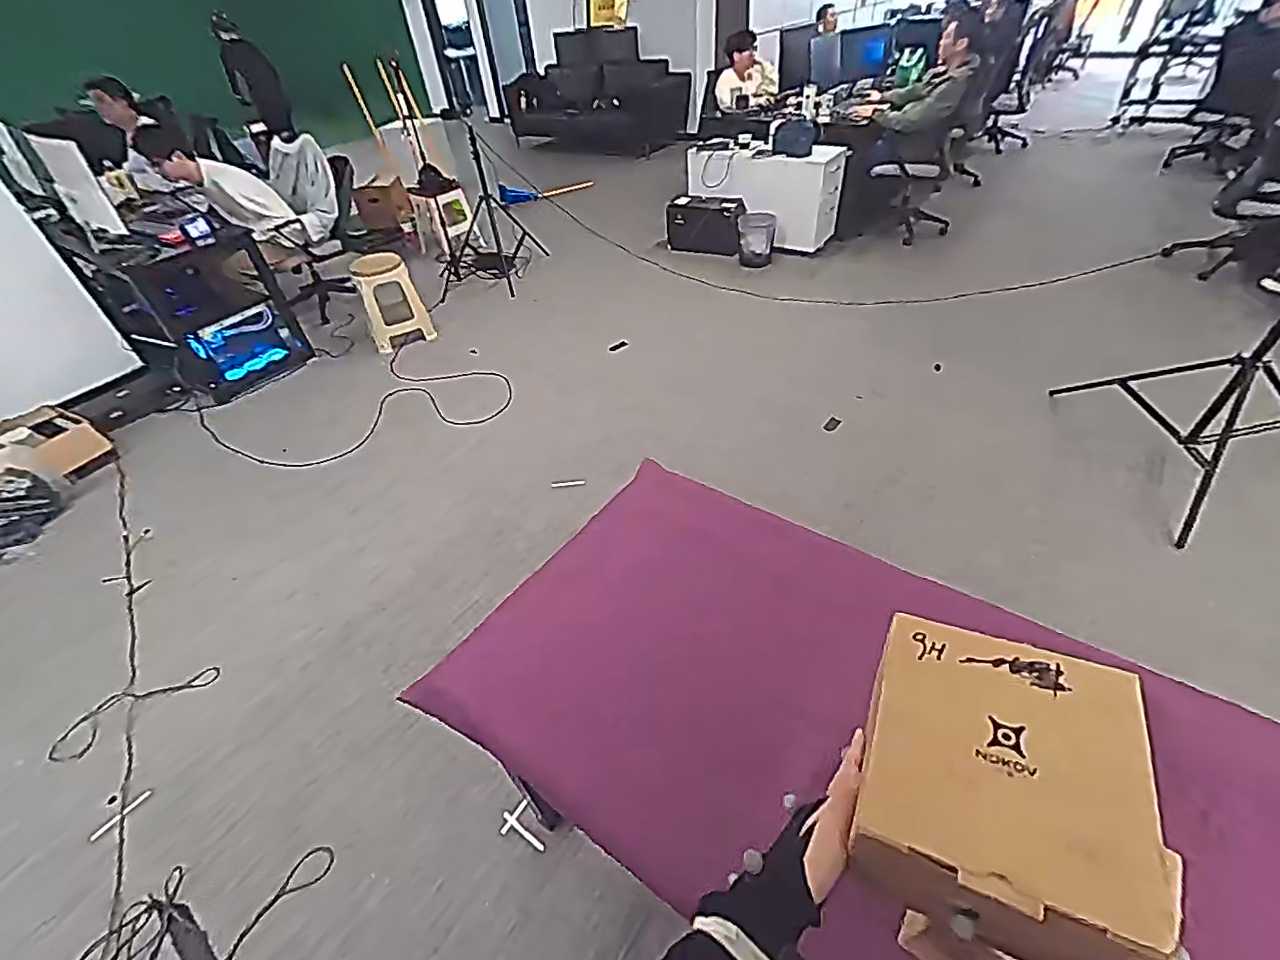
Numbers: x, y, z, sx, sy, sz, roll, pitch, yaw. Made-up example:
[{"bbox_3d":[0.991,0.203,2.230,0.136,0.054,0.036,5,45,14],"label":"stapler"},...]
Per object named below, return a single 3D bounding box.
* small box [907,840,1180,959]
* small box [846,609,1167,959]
[{"bbox_3d":[0.392,0.426,0.547,0.168,0.176,0.179,24,49,29],"label":"small box"},{"bbox_3d":[0.268,0.239,0.432,0.168,0.176,0.179,12,51,24],"label":"small box"}]
